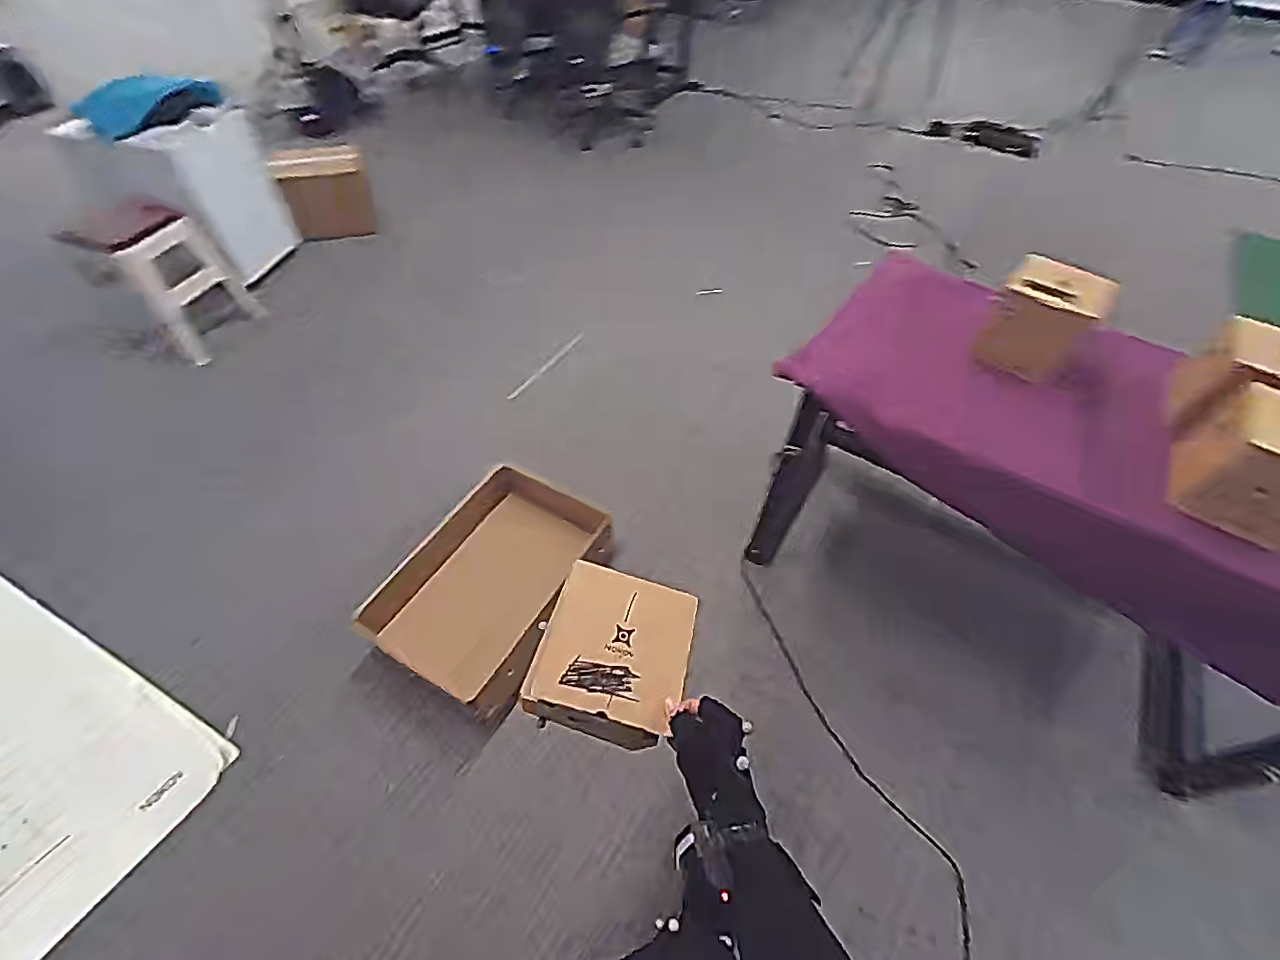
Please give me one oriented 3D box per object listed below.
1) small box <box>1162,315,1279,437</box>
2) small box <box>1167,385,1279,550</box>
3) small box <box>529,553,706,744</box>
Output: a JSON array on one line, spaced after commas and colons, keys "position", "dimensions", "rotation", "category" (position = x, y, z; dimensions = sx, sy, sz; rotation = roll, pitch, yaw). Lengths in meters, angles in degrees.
[{"position": [1.137, -0.170, 1.014], "dimensions": [0.168, 0.176, 0.179], "rotation": [29, 57, 19], "category": "small box"}, {"position": [1.028, -0.017, 0.891], "dimensions": [0.168, 0.176, 0.179], "rotation": [31, 58, 21], "category": "small box"}, {"position": [-0.033, 0.227, 0.703], "dimensions": [0.168, 0.176, 0.179], "rotation": [22, 60, 0], "category": "small box"}]
